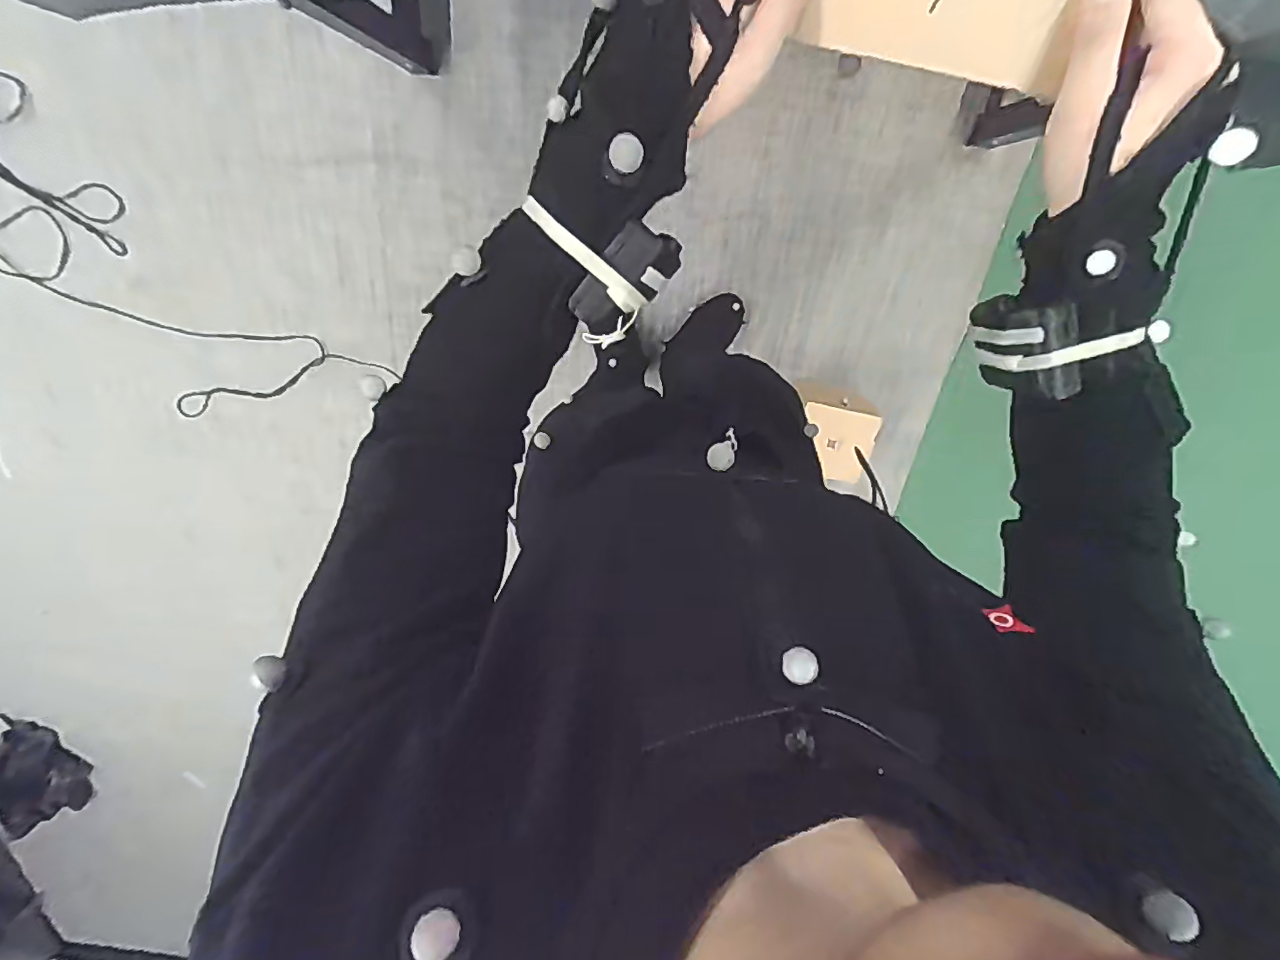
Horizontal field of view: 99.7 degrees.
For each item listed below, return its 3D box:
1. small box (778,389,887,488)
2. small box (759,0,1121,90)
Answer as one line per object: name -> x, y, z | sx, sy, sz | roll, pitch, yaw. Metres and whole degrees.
small box -> 0.438, -0.103, 1.263 | 0.179, 0.176, 0.168 | 12, 114, 0
small box -> 0.161, -0.331, 0.275 | 0.168, 0.176, 0.179 | 10, 134, -1
